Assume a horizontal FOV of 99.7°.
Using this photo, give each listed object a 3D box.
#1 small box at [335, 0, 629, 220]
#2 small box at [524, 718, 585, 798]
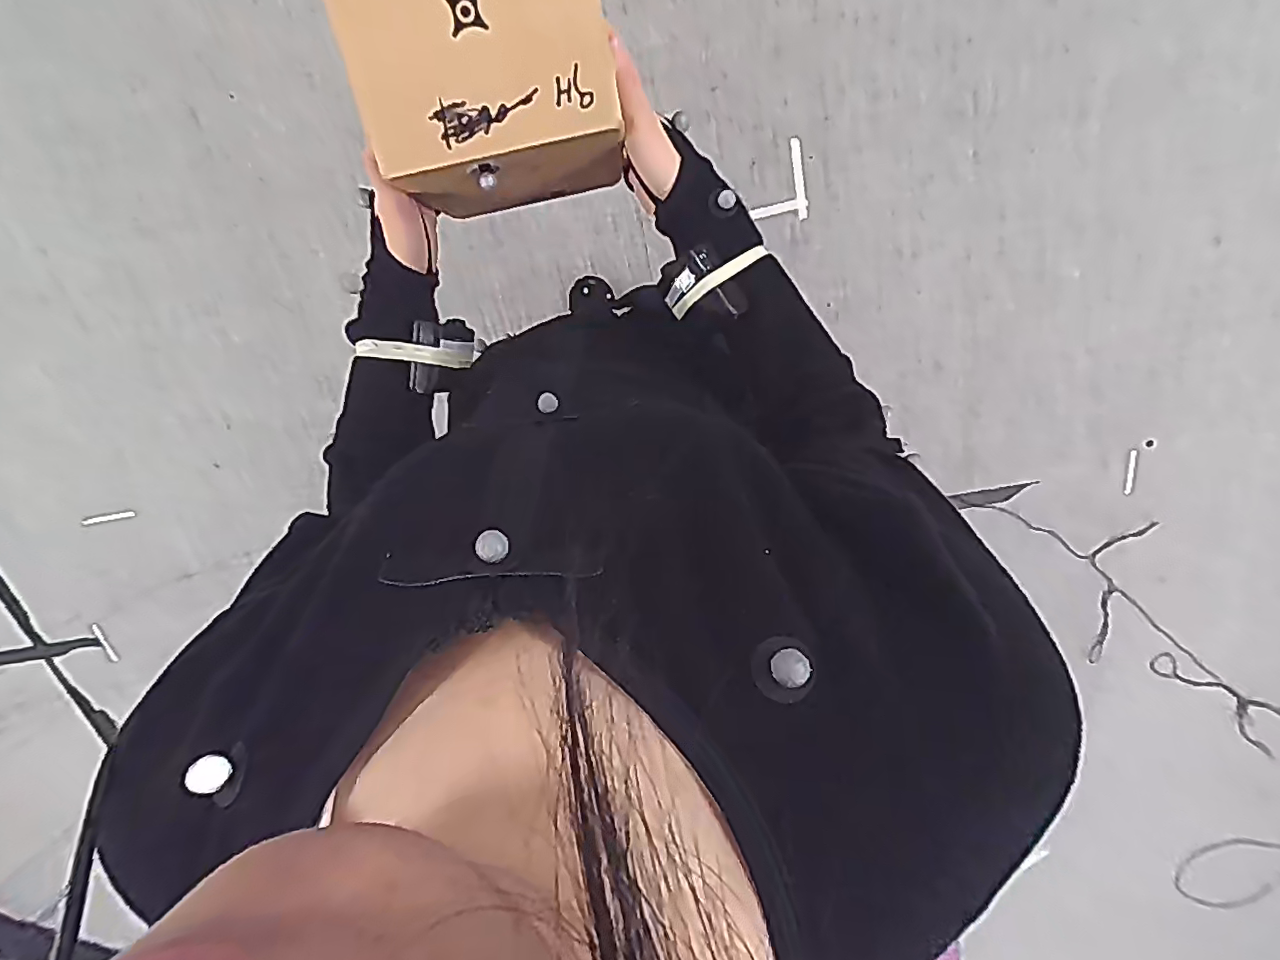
[{"bbox_3d":[-0.107,-0.317,0.406,0.168,0.176,0.179,-12,107,1],"label":"small box"},{"bbox_3d":[-0.276,0.903,1.768,0.179,0.176,0.168,5,109,-5],"label":"small box"}]
